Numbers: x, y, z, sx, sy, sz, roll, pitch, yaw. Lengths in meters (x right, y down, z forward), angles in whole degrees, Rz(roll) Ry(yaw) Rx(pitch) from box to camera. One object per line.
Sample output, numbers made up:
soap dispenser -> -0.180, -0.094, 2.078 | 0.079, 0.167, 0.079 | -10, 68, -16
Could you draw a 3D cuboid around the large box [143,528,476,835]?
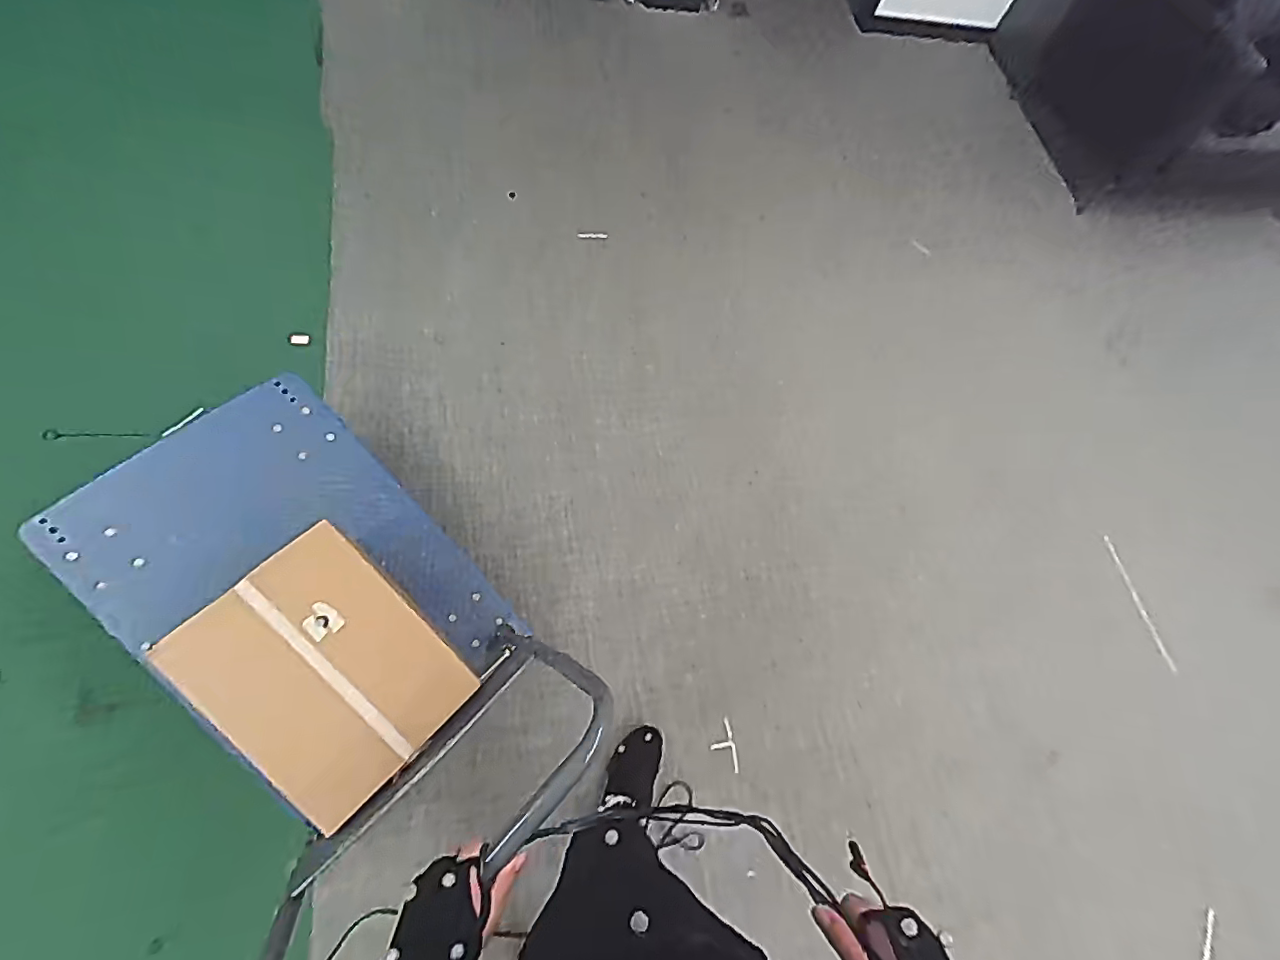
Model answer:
large box -> -0.569, 0.353, 1.027 | 0.408, 0.320, 0.320 | 48, 66, -4
